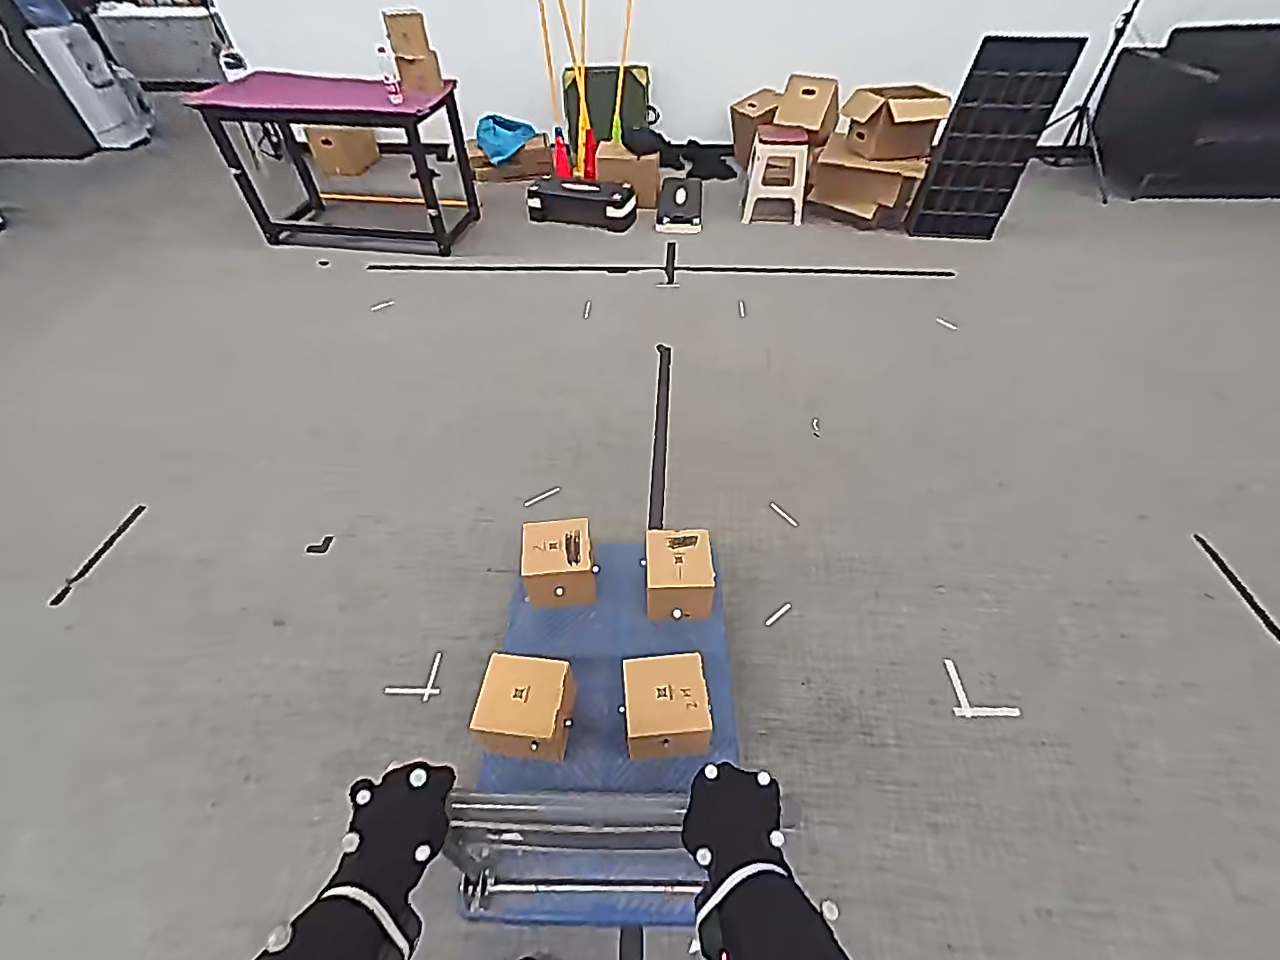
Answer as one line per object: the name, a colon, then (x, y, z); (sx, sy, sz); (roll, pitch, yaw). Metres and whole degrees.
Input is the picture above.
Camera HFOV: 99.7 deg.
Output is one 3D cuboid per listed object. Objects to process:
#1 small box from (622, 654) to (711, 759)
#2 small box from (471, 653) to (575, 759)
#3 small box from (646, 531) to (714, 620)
small box: (0.055, 0.507, 1.205); (0.179, 0.176, 0.168); (-4, 48, -3)
small box: (-0.252, 0.507, 1.209); (0.179, 0.176, 0.168); (5, 48, 4)
small box: (0.101, 0.253, 1.434); (0.168, 0.176, 0.179); (-1, 49, 0)
